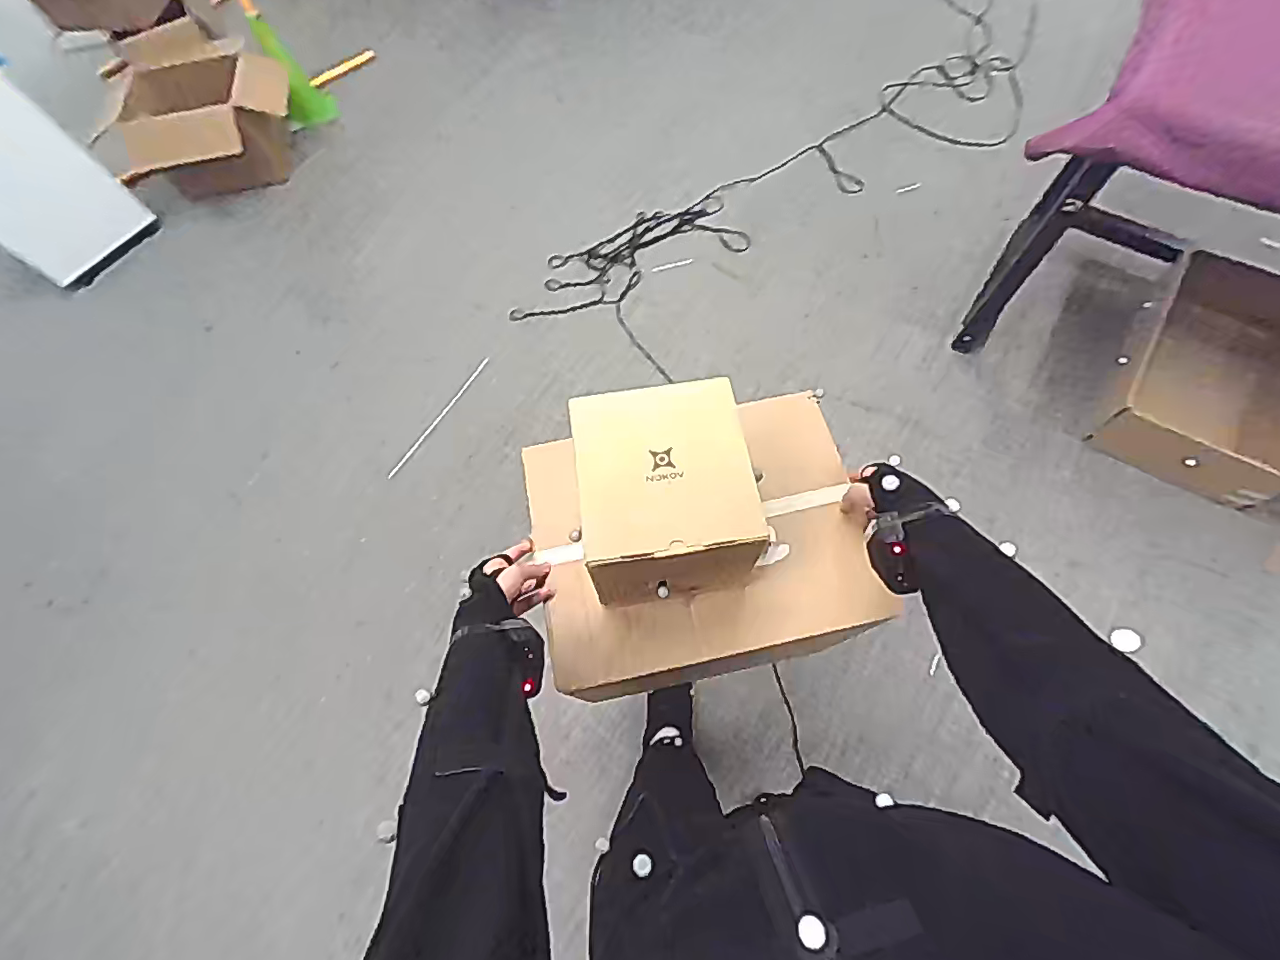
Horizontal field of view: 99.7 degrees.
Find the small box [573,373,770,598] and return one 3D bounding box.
[{"bbox_3d":[0.024,0.013,0.574,0.168,0.176,0.179,-8,66,-2],"label":"small box"}]

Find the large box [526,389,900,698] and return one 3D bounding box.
[{"bbox_3d":[0.075,0.111,0.796,0.408,0.320,0.320,-11,67,-4],"label":"large box"}]
